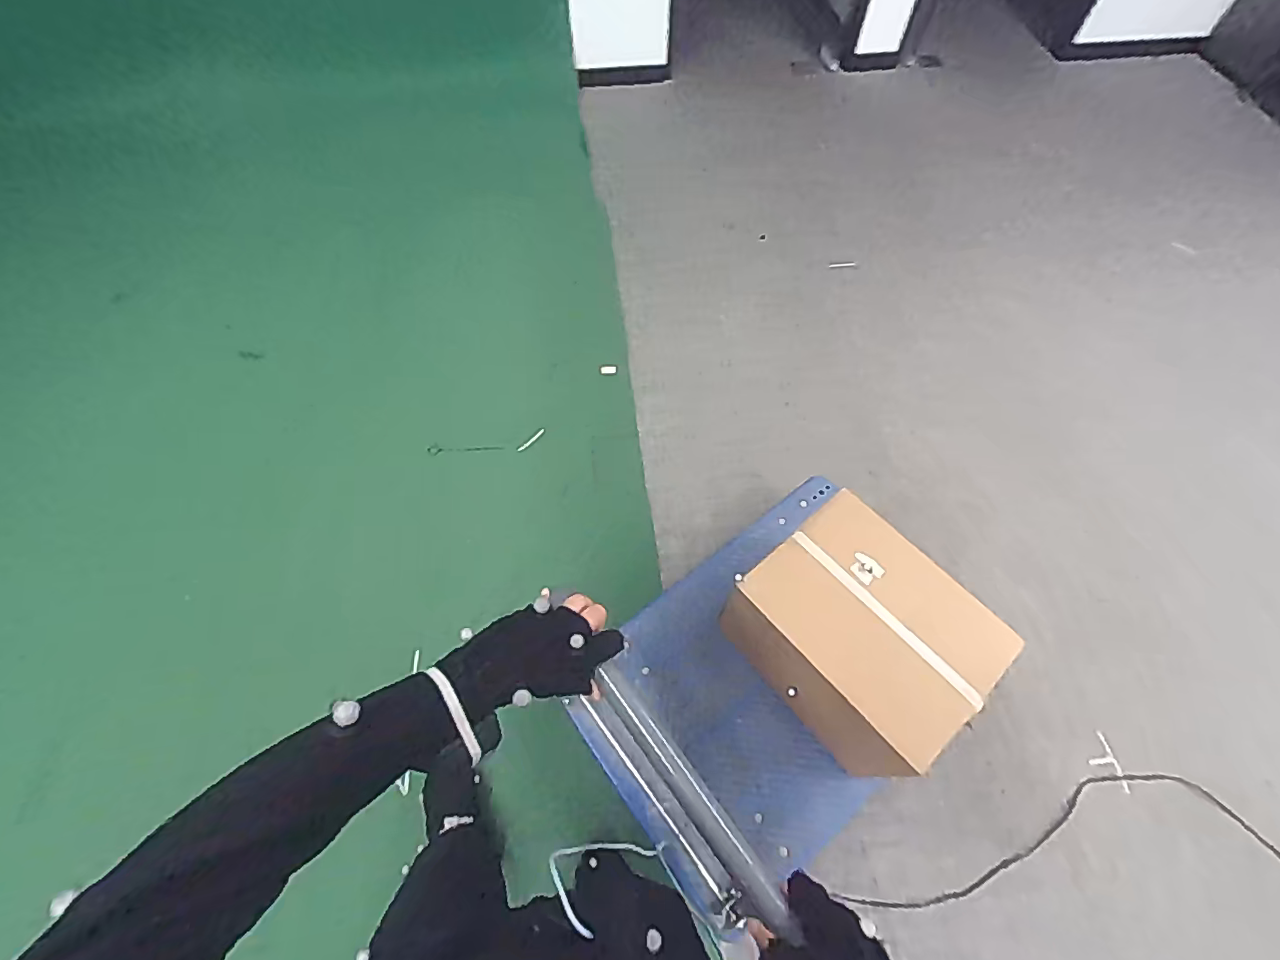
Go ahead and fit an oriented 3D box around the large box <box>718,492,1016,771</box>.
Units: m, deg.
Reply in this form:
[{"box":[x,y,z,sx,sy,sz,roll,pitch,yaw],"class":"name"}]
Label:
[{"box":[0.417,0.310,1.094,0.320,0.320,0.408,-37,66,-20],"class":"large box"}]
